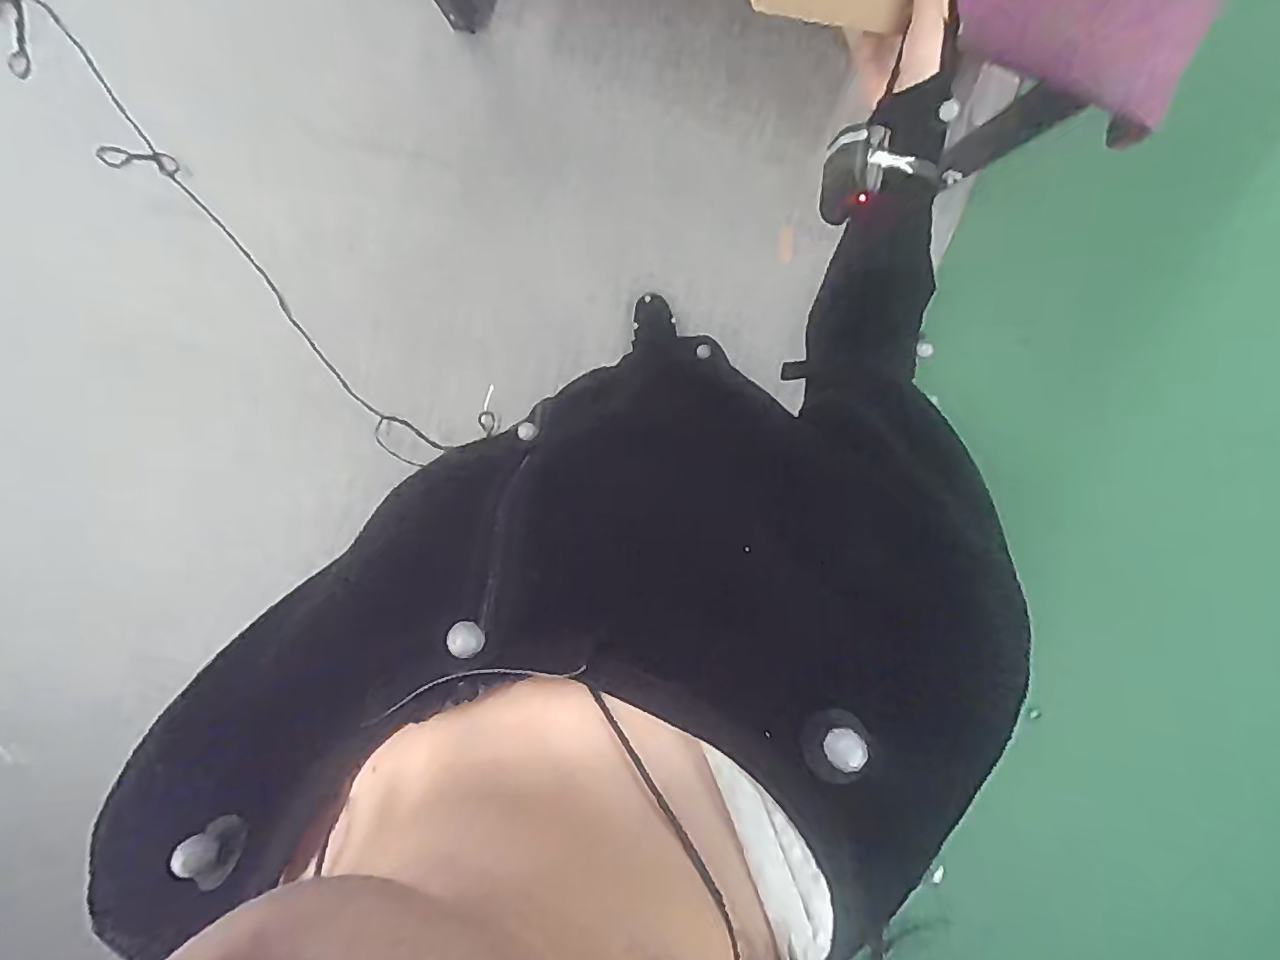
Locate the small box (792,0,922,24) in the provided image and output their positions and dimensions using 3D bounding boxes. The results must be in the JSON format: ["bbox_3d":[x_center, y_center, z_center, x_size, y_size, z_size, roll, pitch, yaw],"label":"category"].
[{"bbox_3d":[0.144,-0.450,0.339,0.168,0.179,0.176,-15,77,-26],"label":"small box"}]
